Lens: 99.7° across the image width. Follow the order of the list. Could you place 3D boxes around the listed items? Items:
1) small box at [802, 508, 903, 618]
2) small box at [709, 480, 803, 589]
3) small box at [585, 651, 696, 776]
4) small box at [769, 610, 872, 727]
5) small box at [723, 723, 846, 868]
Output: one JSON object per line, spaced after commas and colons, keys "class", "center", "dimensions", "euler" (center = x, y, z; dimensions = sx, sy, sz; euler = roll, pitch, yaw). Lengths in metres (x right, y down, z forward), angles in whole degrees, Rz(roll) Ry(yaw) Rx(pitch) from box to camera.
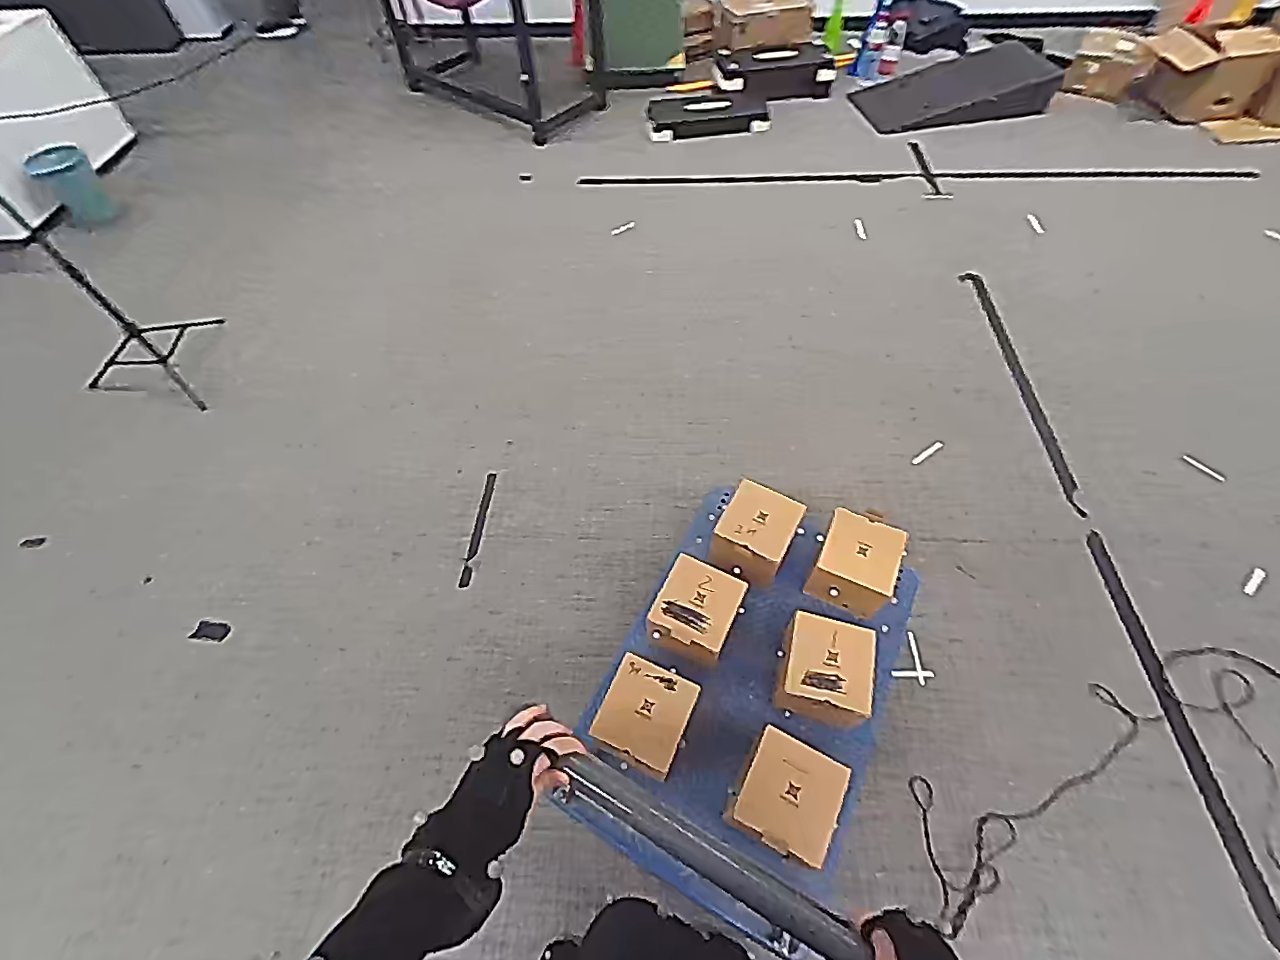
{"class": "small box", "center": [0.501, 0.205, 1.299], "dimensions": [0.168, 0.176, 0.179], "euler": [22, 60, 15]}
{"class": "small box", "center": [0.280, 0.138, 1.345], "dimensions": [0.168, 0.176, 0.179], "euler": [26, 62, 17]}
{"class": "small box", "center": [0.006, 0.489, 1.122], "dimensions": [0.168, 0.176, 0.179], "euler": [22, 60, 14]}
{"class": "small box", "center": [0.383, 0.411, 1.166], "dimensions": [0.168, 0.176, 0.179], "euler": [14, 58, 10]}
{"class": "small box", "center": [0.269, 0.607, 1.042], "dimensions": [0.168, 0.176, 0.179], "euler": [25, 60, 16]}
